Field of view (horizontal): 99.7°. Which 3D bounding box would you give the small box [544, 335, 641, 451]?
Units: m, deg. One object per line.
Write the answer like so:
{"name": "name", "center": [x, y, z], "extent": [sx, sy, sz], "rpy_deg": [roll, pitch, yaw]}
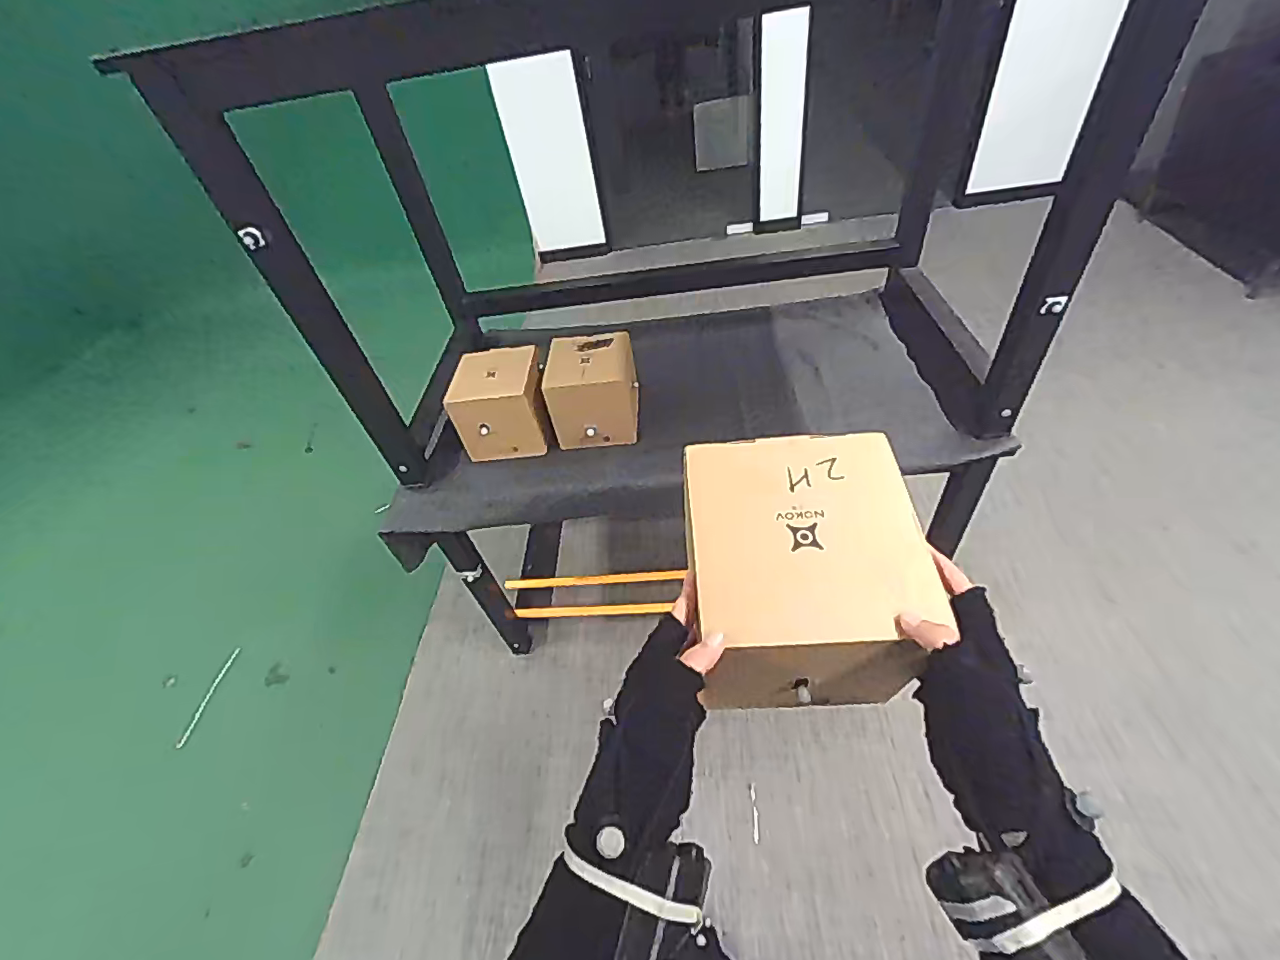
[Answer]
{"name": "small box", "center": [-0.092, -0.183, 1.145], "extent": [0.168, 0.176, 0.179], "rpy_deg": [-5, 46, 7]}

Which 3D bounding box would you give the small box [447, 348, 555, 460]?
{"name": "small box", "center": [-0.286, -0.156, 1.159], "extent": [0.168, 0.176, 0.179], "rpy_deg": [-5, 45, 6]}
